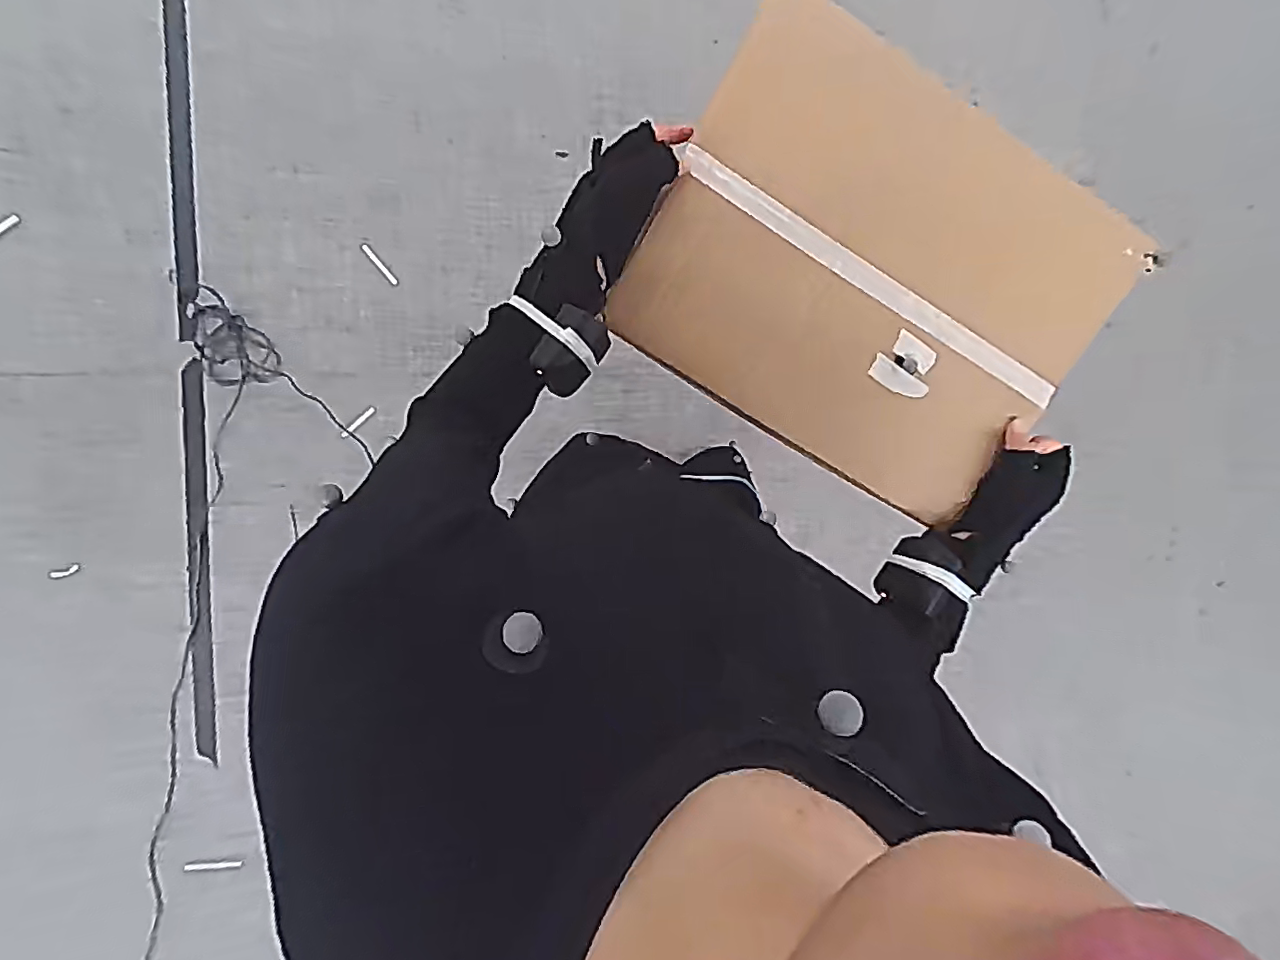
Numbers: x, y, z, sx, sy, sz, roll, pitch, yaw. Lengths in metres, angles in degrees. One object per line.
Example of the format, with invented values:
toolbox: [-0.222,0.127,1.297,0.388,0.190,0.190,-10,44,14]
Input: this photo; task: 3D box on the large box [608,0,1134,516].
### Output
large box: [0.208,-0.218,0.645,0.408,0.320,0.320,31,101,-8]
